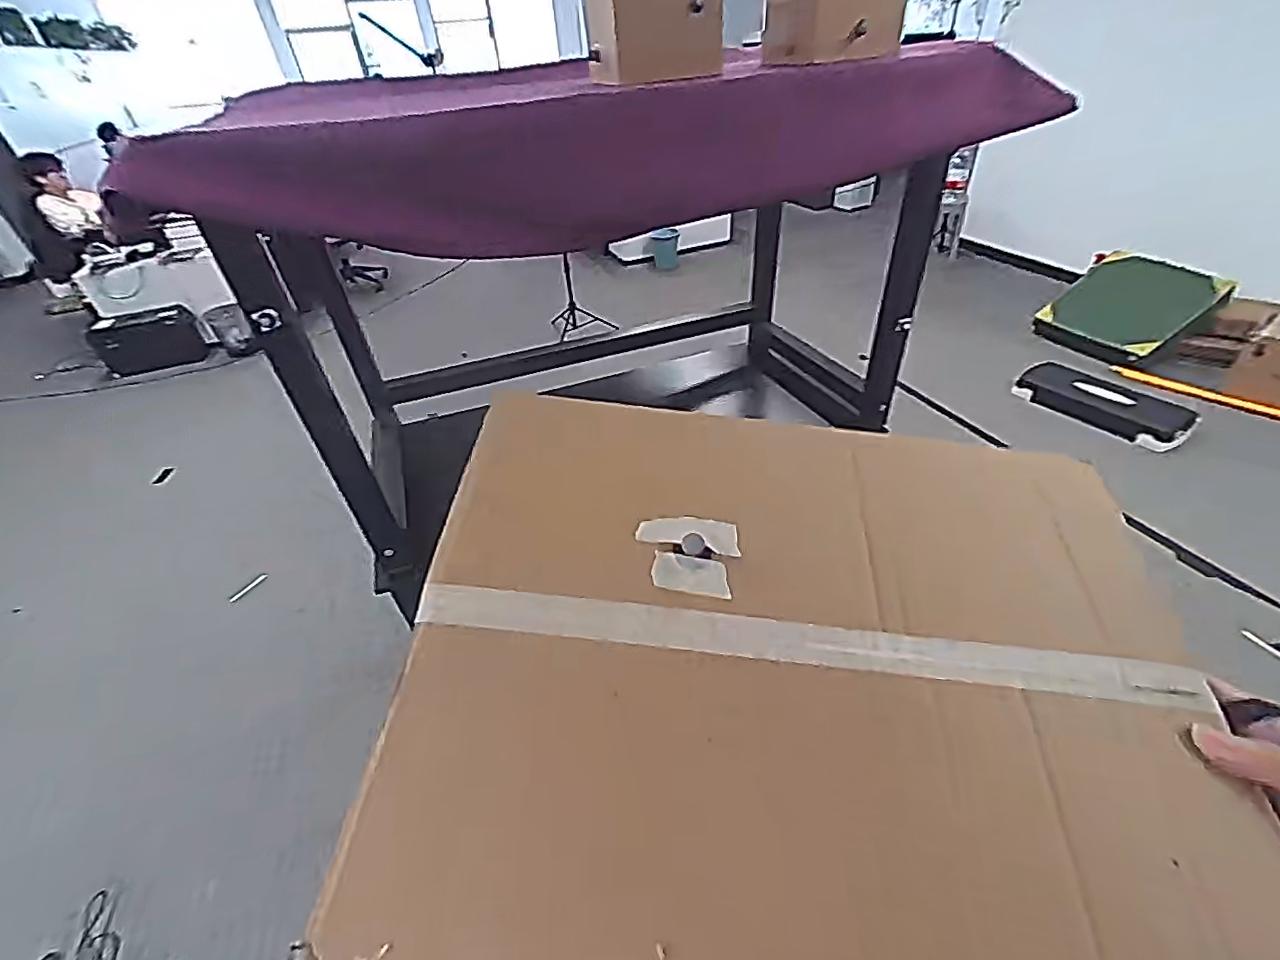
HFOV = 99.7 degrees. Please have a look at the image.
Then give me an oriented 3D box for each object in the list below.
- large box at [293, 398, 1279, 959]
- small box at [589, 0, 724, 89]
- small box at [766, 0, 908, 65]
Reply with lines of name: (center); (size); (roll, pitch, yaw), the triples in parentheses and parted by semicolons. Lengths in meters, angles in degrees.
large box: (0.077, 0.169, 0.394); (0.408, 0.320, 0.320); (5, 53, 1)
small box: (0.022, -0.725, 0.843); (0.179, 0.176, 0.168); (-16, 39, -12)
small box: (0.325, -0.800, 0.893); (0.179, 0.176, 0.168); (-15, 39, -12)
